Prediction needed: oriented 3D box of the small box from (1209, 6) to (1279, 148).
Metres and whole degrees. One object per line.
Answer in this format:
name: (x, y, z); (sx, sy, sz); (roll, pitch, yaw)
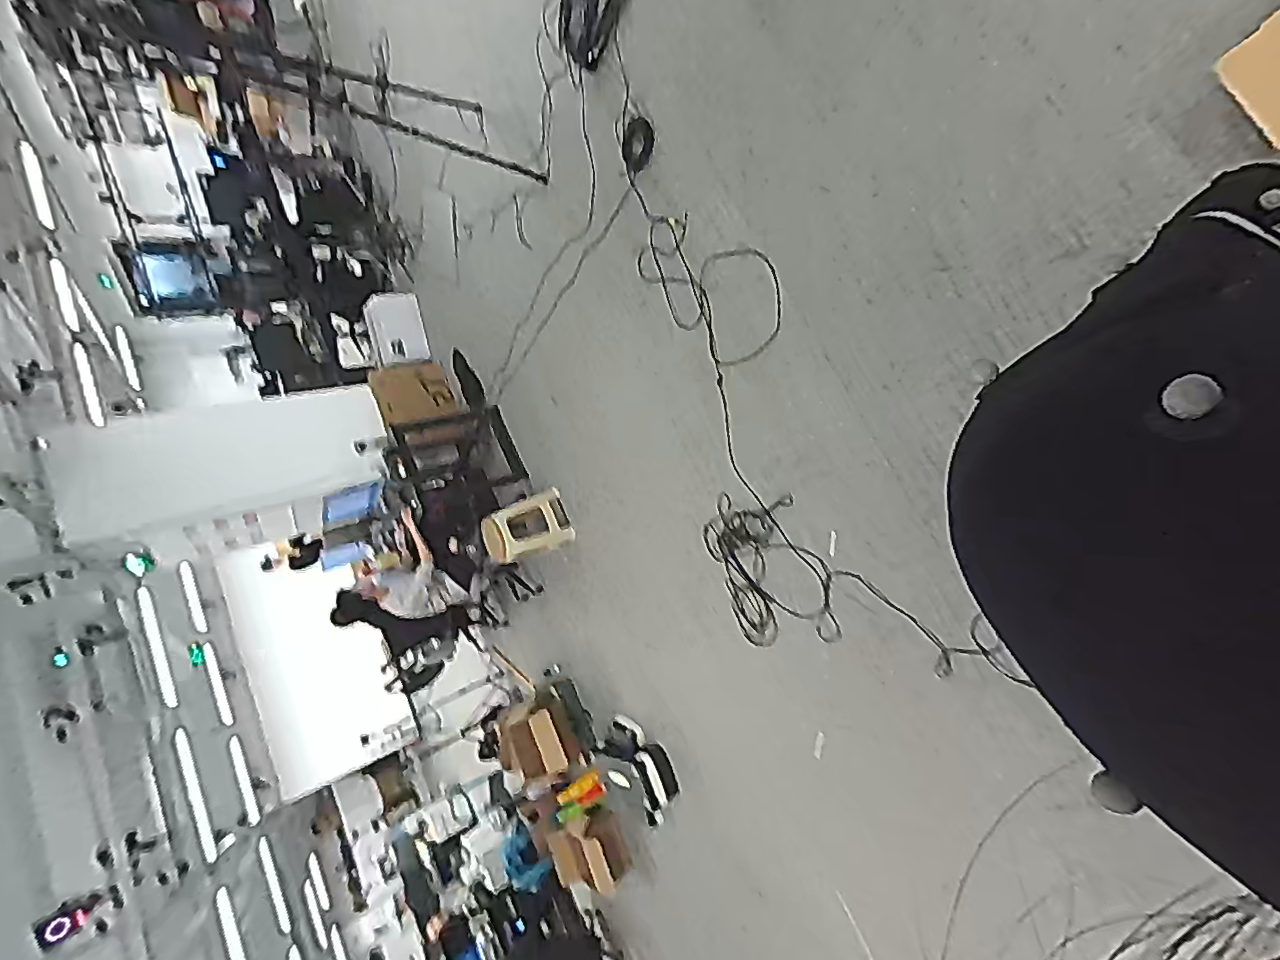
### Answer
small box: (1.029, -0.634, 0.816); (0.168, 0.176, 0.179); (-40, 72, 53)
